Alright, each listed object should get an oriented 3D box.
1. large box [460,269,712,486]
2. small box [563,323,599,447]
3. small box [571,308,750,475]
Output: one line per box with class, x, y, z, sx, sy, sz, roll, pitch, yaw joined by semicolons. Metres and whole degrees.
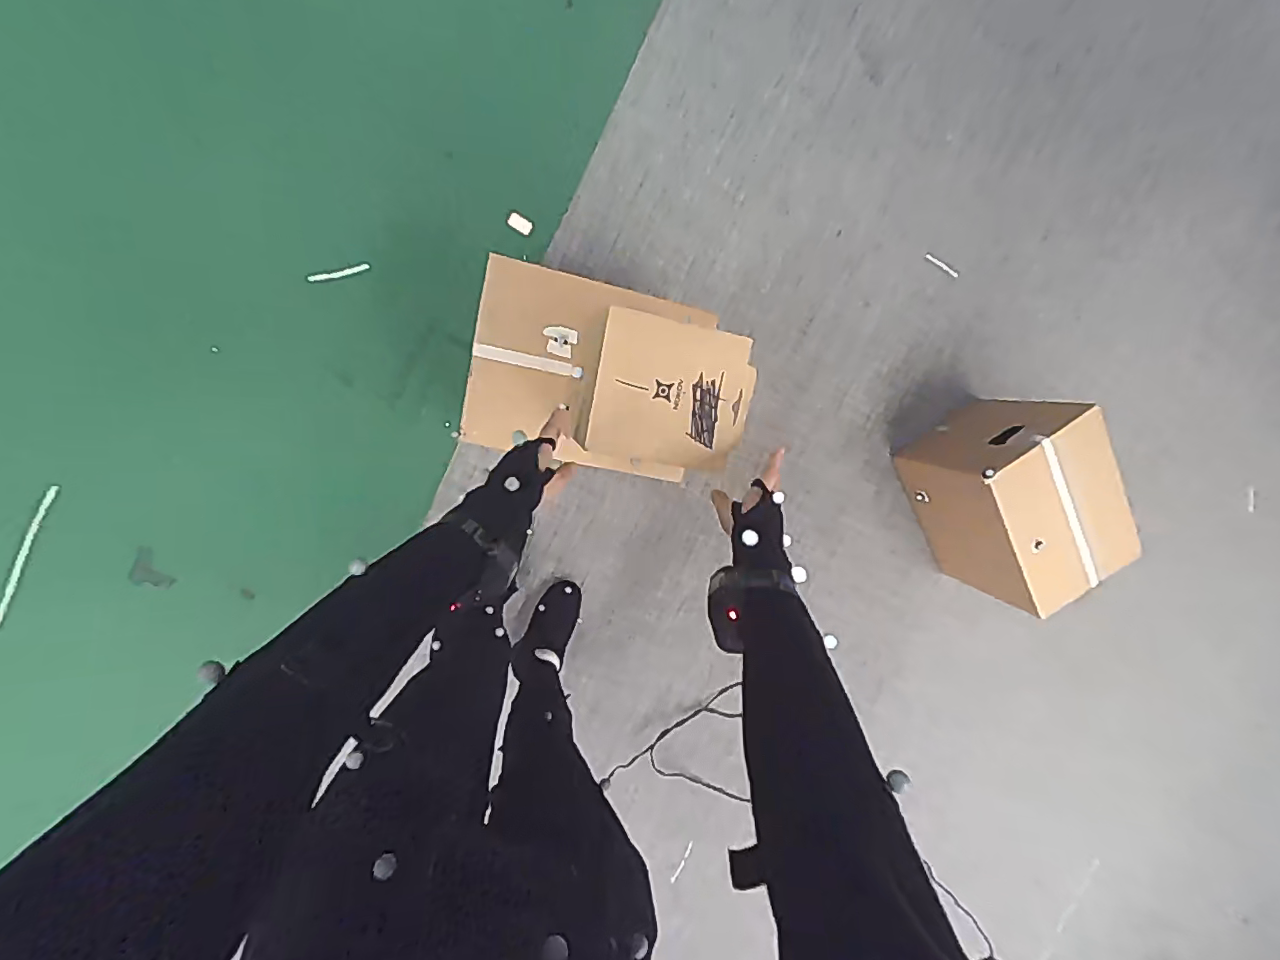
large box;-0.114;-0.189;1.084;0.408;0.320;0.320;10;95;-13
small box;-0.024;-0.133;0.859;0.168;0.176;0.179;11;96;-14
small box;0.015;-0.111;0.701;0.179;0.176;0.168;9;96;-14
